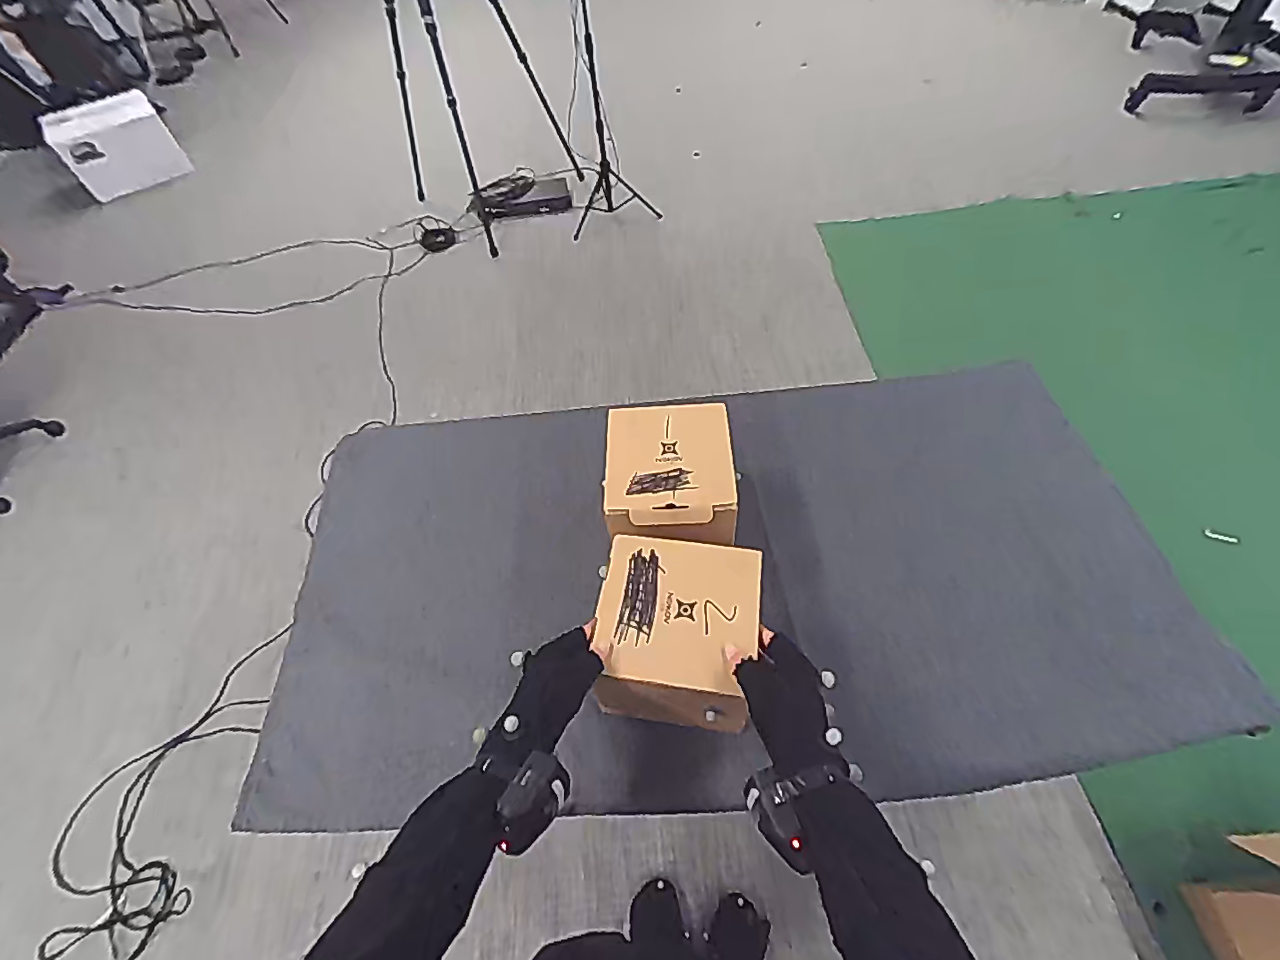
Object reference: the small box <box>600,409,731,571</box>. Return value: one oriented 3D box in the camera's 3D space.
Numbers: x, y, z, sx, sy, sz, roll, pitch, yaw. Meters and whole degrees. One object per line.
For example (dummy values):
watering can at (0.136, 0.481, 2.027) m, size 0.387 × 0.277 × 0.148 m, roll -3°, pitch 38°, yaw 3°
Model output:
small box at (0.040, 0.021, 0.774) m, size 0.168 × 0.176 × 0.179 m, roll -2°, pitch 53°, yaw 4°
